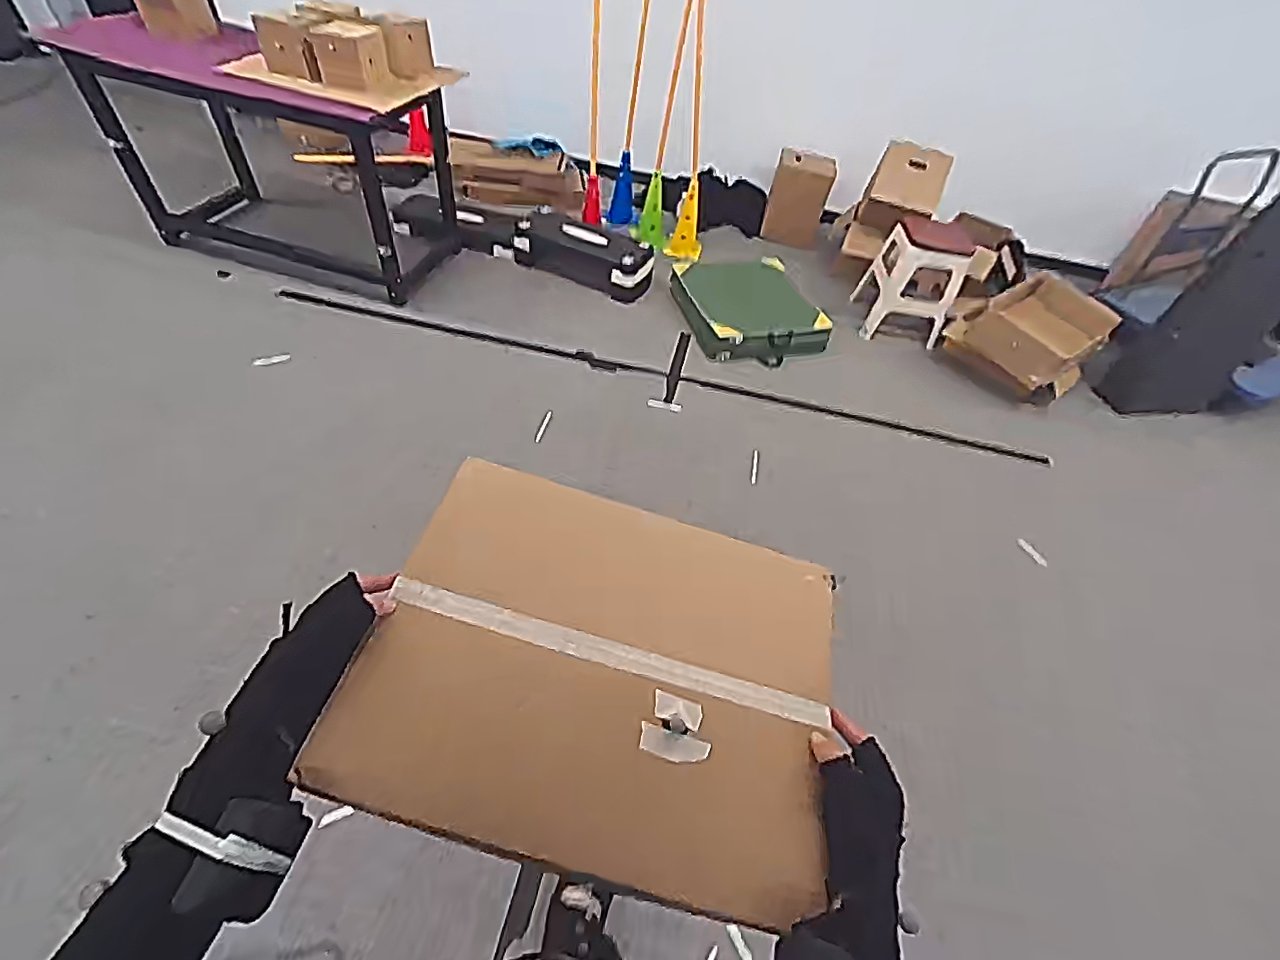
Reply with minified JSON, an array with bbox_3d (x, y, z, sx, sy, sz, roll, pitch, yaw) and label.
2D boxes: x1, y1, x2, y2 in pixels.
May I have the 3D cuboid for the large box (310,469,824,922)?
[{"bbox_3d":[-0.055,0.244,0.608,0.408,0.320,0.320,18,54,-1],"label":"large box"}]
